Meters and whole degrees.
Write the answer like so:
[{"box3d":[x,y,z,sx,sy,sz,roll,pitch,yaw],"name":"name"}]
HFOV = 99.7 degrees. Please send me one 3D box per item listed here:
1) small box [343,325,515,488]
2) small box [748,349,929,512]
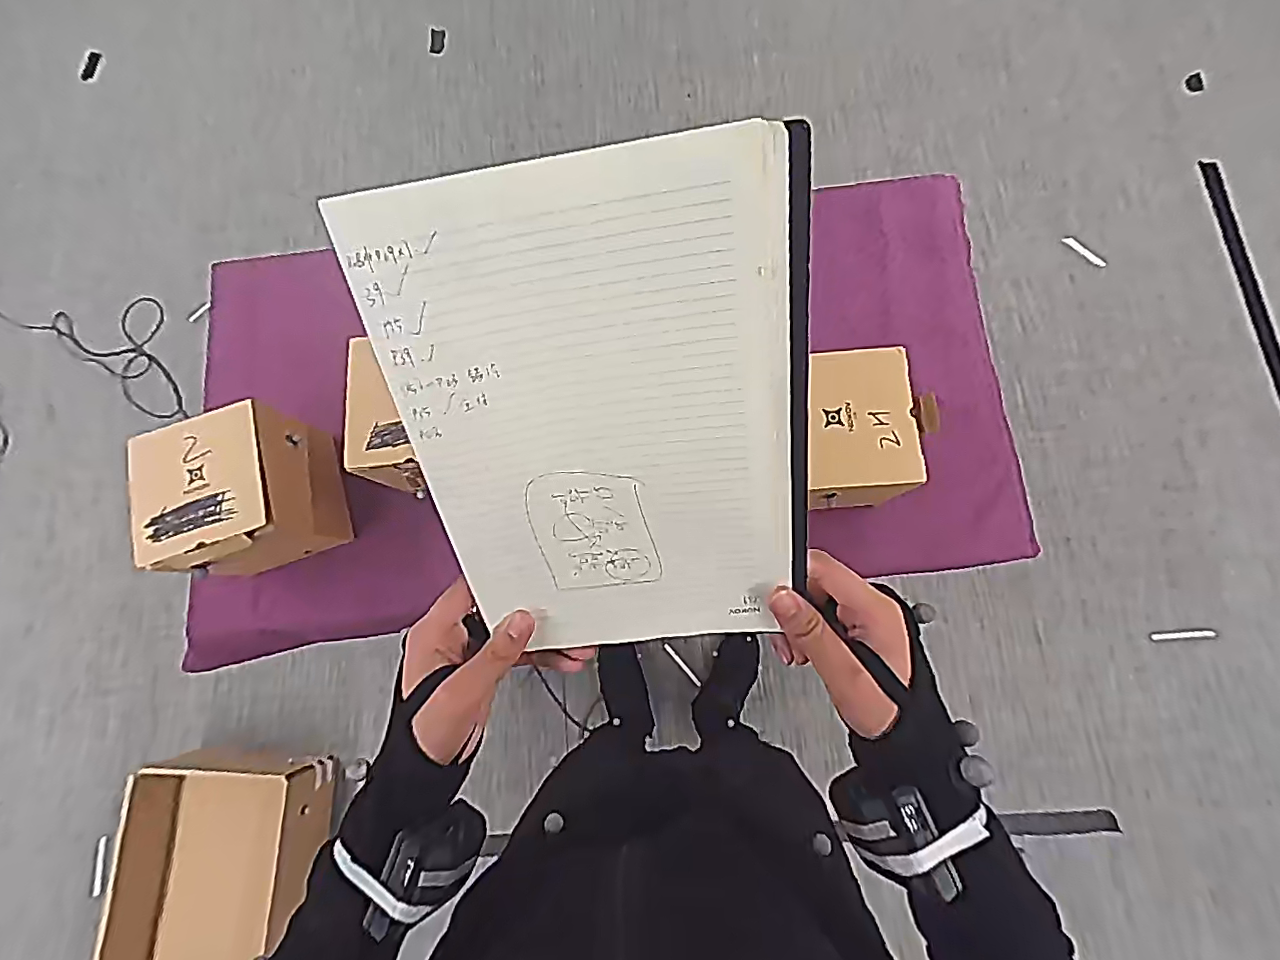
[{"box3d":[-0.274,-0.088,0.738,0.168,0.176,0.179,-4,78,3],"name":"small box"},{"box3d":[0.236,-0.053,0.696,0.179,0.176,0.168,-3,79,3],"name":"small box"}]
